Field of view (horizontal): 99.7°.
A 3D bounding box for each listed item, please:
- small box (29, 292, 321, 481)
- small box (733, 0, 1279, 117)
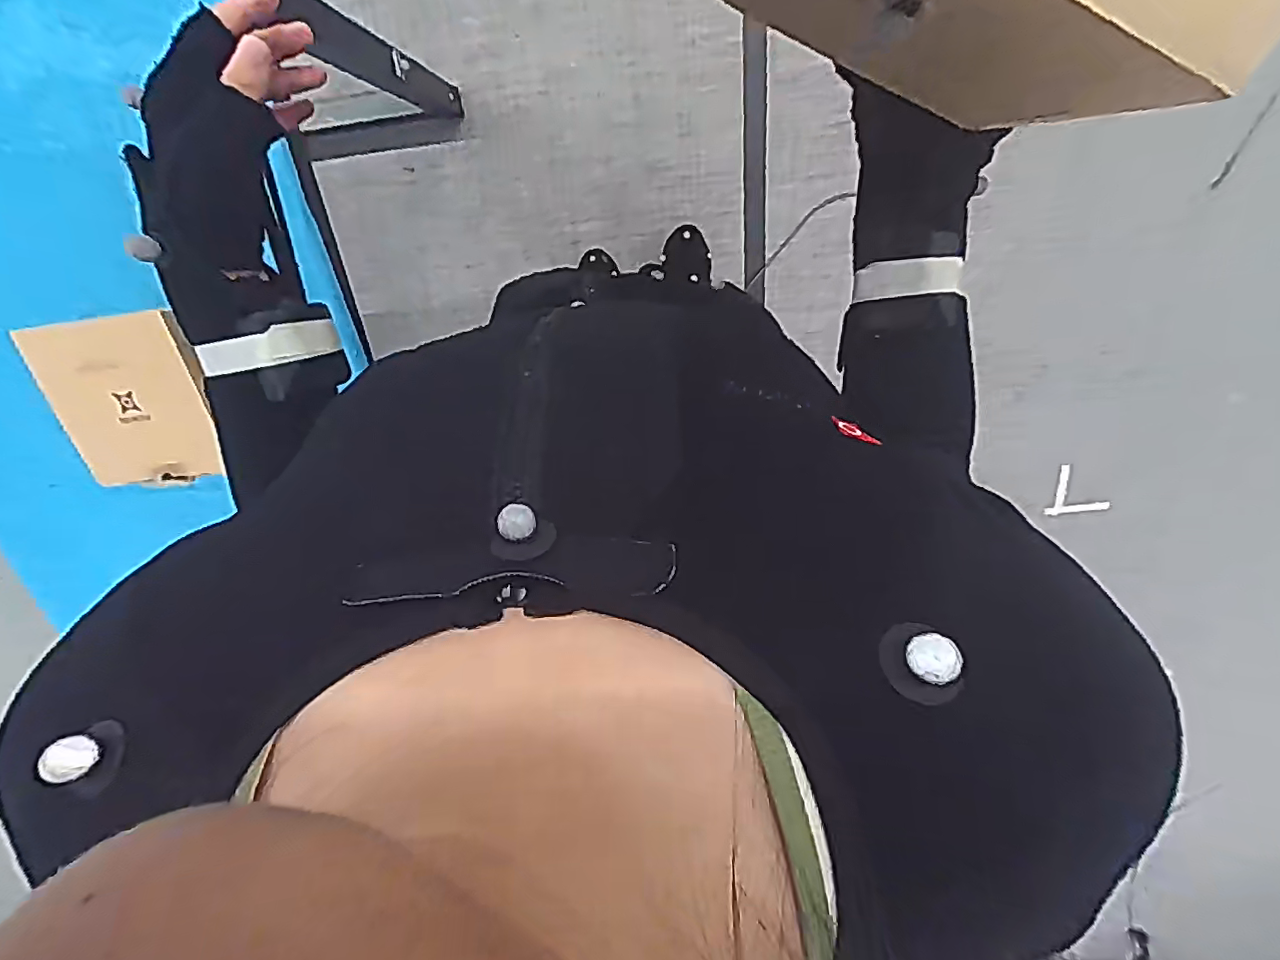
[{"bbox_3d":[-0.526,-0.117,0.647,0.168,0.176,0.179,-5,115,5],"label":"small box"},{"bbox_3d":[0.149,-0.260,0.201,0.179,0.176,0.168,16,118,-10],"label":"small box"}]
